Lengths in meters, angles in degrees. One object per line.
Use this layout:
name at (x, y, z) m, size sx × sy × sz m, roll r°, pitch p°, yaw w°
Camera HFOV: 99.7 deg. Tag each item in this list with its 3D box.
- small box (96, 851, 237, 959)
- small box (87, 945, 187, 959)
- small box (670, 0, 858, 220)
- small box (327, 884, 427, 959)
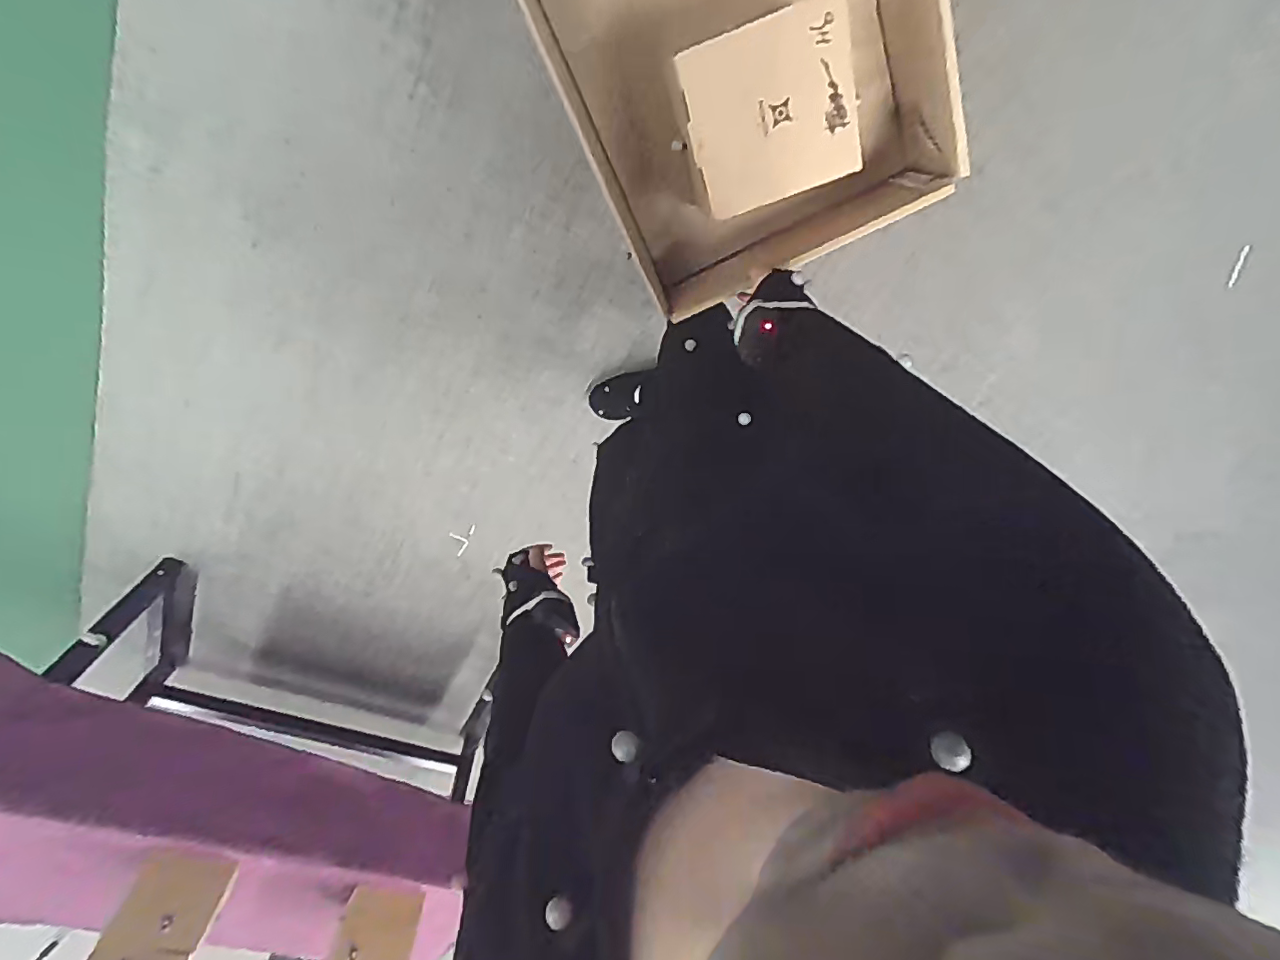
small box at (-1.029, 0.947, 1.185) m, size 0.179 × 0.176 × 0.168 m, roll 25°, pitch 118°, yaw -17°
small box at (-1.027, 1.040, 1.052) m, size 0.168 × 0.176 × 0.179 m, roll 23°, pitch 120°, yaw -16°
small box at (0.137, -0.431, 0.643) m, size 0.179 × 0.176 × 0.168 m, roll -16°, pitch 123°, yaw 9°
small box at (-0.643, 1.117, 1.313) m, size 0.179 × 0.176 × 0.168 m, roll 23°, pitch 119°, yaw -15°
